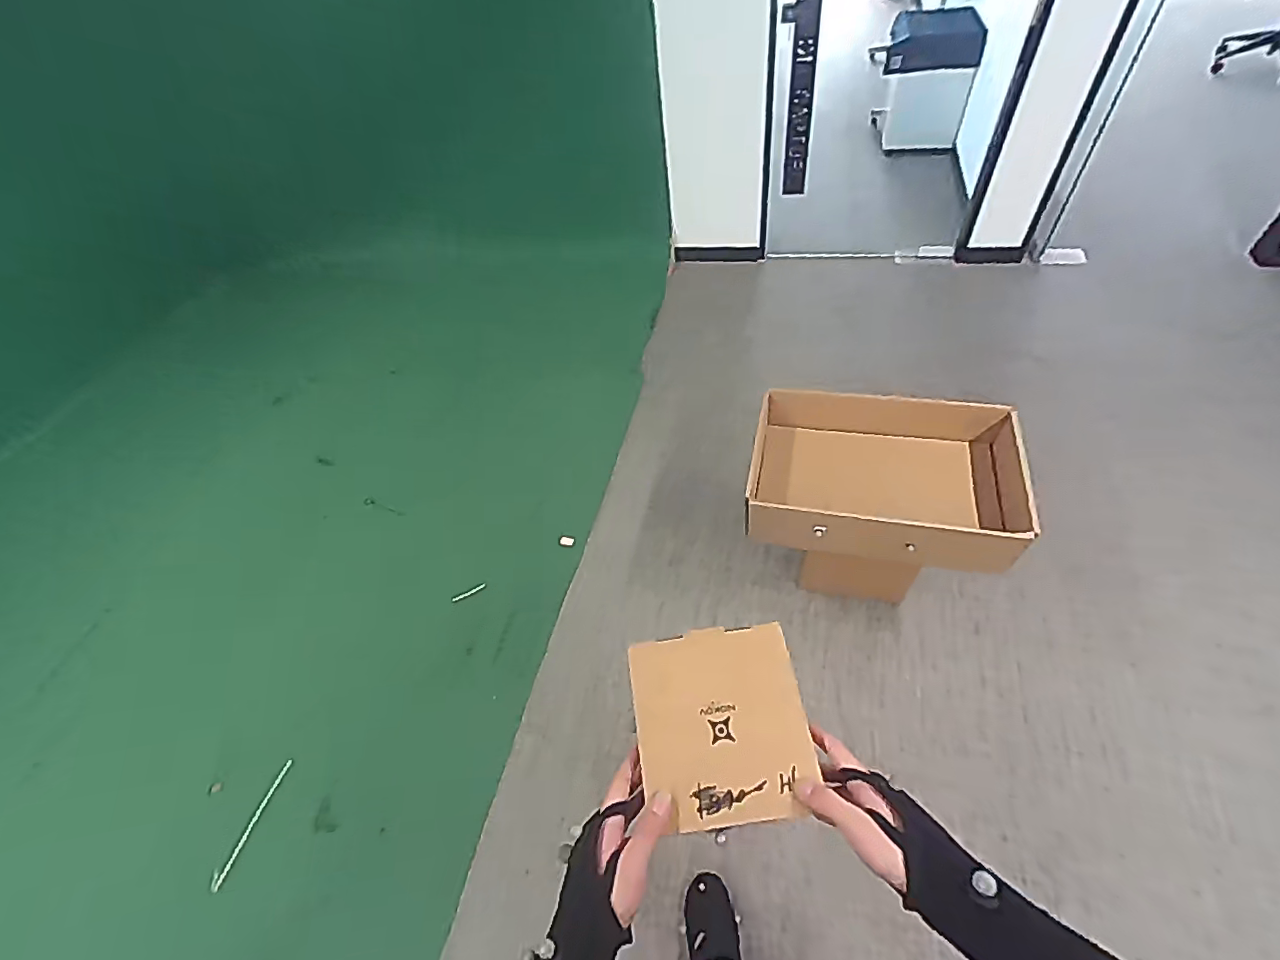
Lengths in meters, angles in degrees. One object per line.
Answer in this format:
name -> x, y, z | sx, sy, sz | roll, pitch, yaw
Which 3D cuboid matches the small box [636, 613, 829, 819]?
small box -> 0.086, 0.265, 0.598 | 0.168, 0.176, 0.179 | -7, 59, 0
